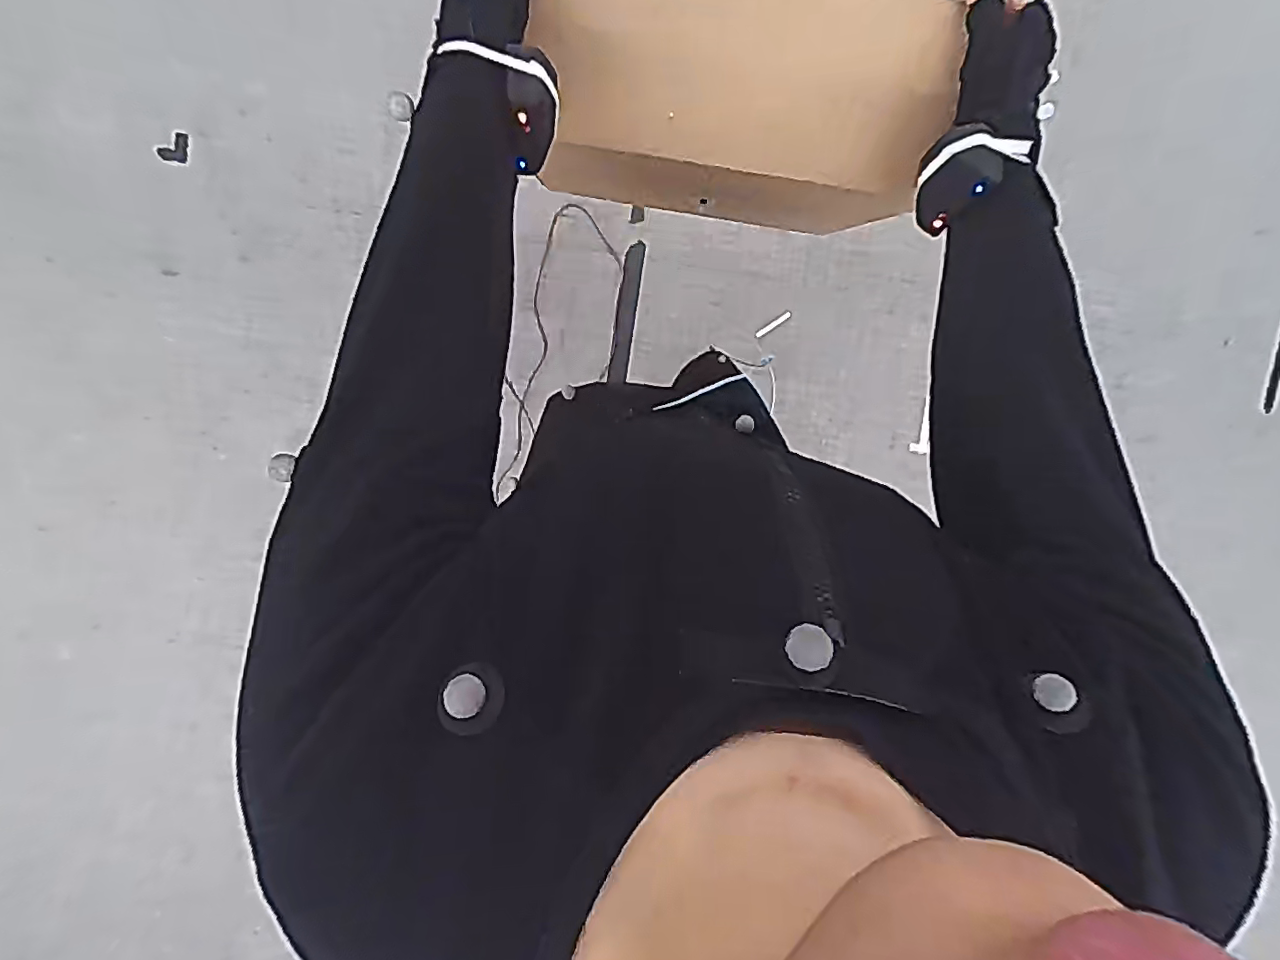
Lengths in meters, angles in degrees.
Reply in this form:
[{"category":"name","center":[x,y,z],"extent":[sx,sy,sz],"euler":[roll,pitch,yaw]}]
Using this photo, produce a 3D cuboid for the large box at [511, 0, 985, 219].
[{"category":"large box","center":[0.097,-0.487,0.583],"extent":[0.408,0.320,0.320],"euler":[7,108,-5]}]
